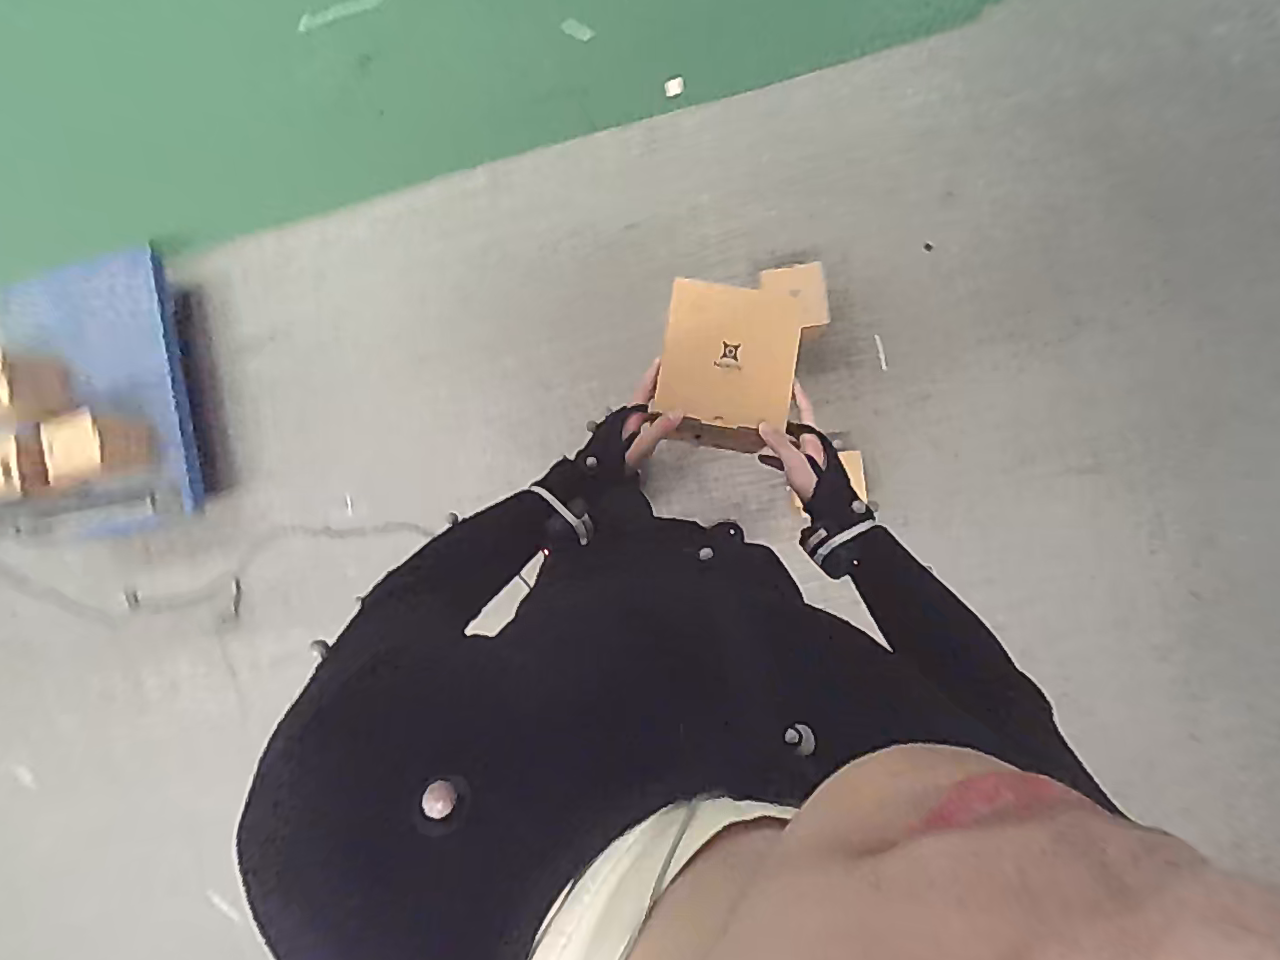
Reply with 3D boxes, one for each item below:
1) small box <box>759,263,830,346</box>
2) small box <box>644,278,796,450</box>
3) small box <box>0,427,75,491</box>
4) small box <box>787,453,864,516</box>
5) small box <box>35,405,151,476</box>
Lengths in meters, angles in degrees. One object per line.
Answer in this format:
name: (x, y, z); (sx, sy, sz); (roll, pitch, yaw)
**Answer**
small box: (0.430, -0.489, 1.536); (0.168, 0.176, 0.179); (-6, 88, 7)
small box: (0.097, -0.146, 0.736); (0.168, 0.176, 0.179); (8, 86, 0)
small box: (-1.841, -0.060, 1.611); (0.179, 0.176, 0.168); (-8, 88, 7)
small box: (0.514, 0.015, 1.513); (0.179, 0.176, 0.168); (0, 87, 8)
small box: (-1.585, -0.111, 1.581); (0.179, 0.176, 0.168); (-13, 87, 6)
